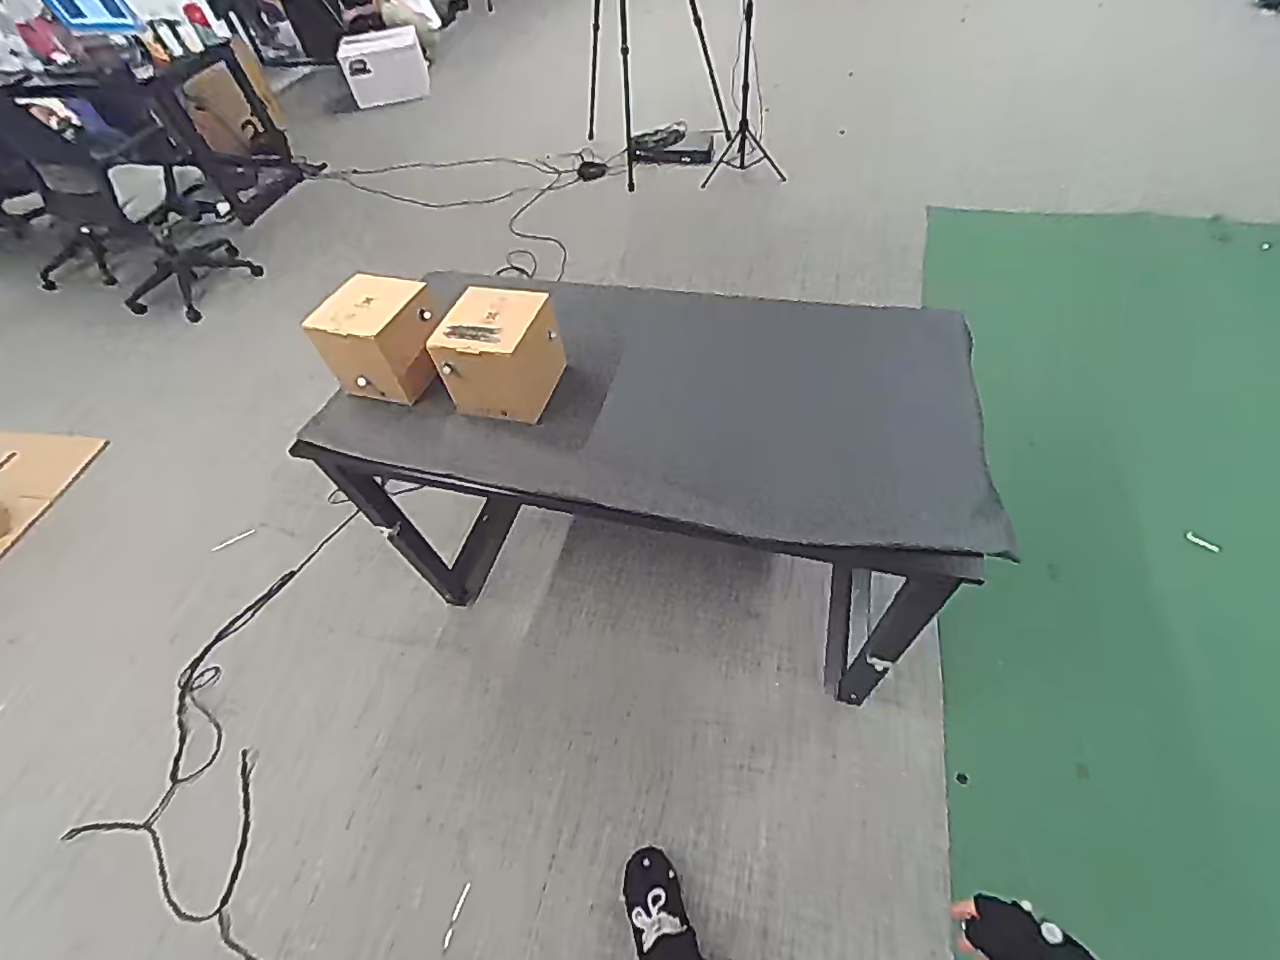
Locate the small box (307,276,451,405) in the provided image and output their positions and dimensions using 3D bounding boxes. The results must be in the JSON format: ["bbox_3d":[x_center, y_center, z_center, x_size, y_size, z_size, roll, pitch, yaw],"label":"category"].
[{"bbox_3d":[-0.502,-0.278,1.078,0.168,0.176,0.179,12,54,15],"label":"small box"}]
